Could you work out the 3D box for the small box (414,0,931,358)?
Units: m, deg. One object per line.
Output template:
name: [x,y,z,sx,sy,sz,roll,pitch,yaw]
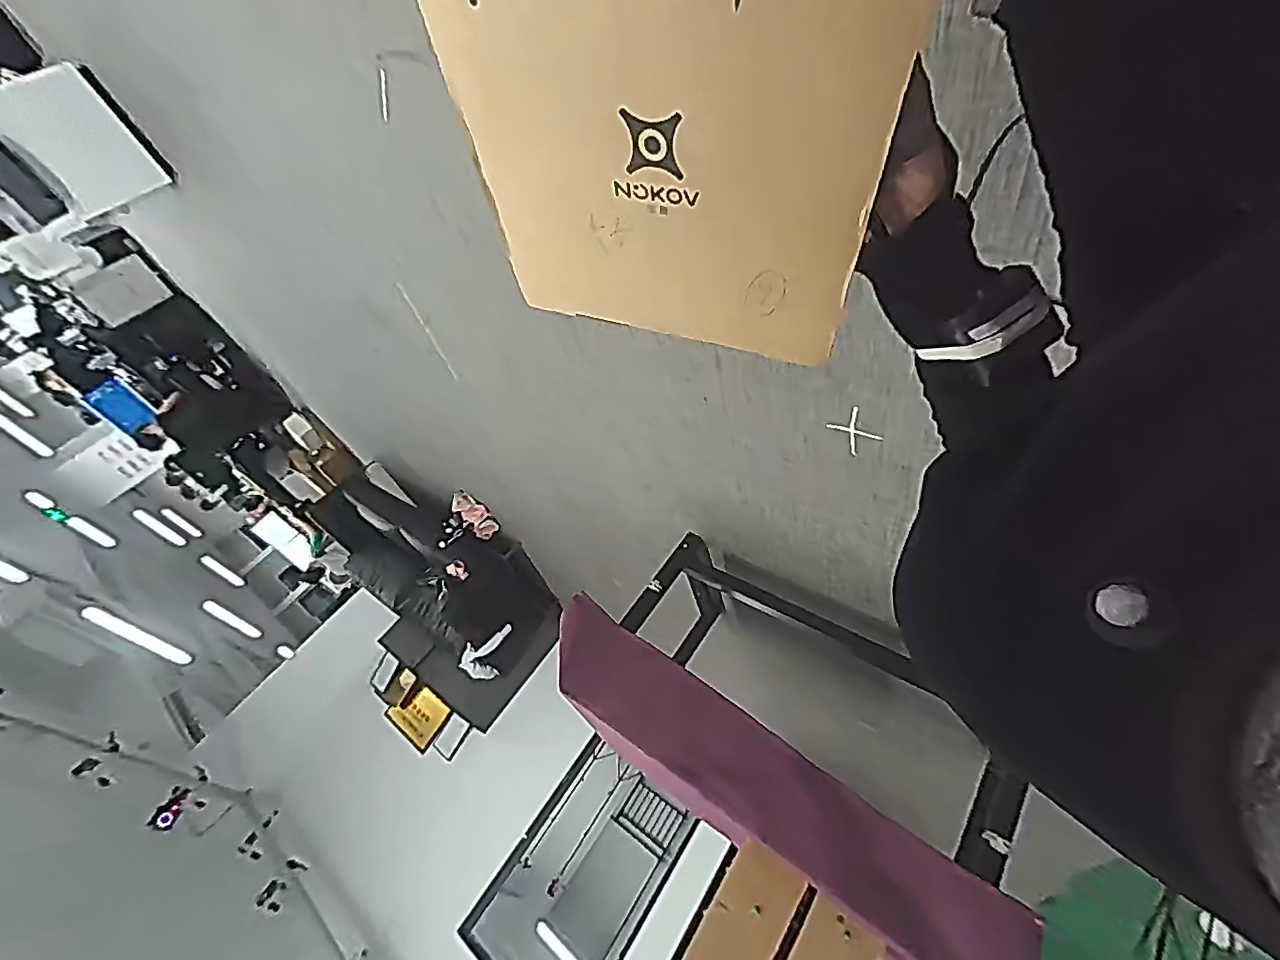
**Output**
small box: [0.031,-0.188,0.236,0.168,0.176,0.179,16,152,14]
